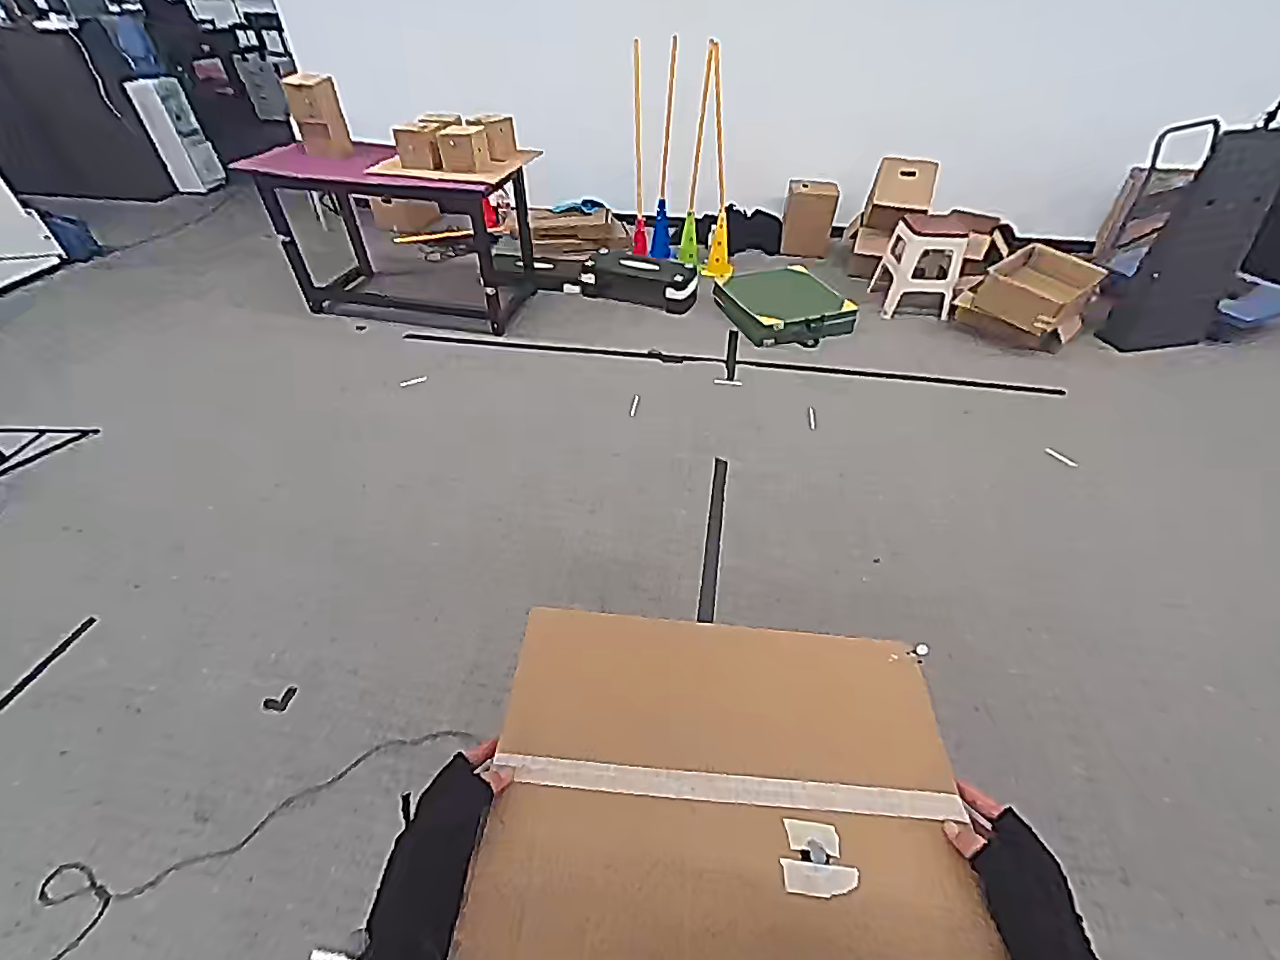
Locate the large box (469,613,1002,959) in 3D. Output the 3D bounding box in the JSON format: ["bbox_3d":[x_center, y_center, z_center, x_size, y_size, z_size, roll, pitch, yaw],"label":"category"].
[{"bbox_3d":[0.069,0.371,0.583,0.408,0.320,0.320,5,46,0],"label":"large box"}]
